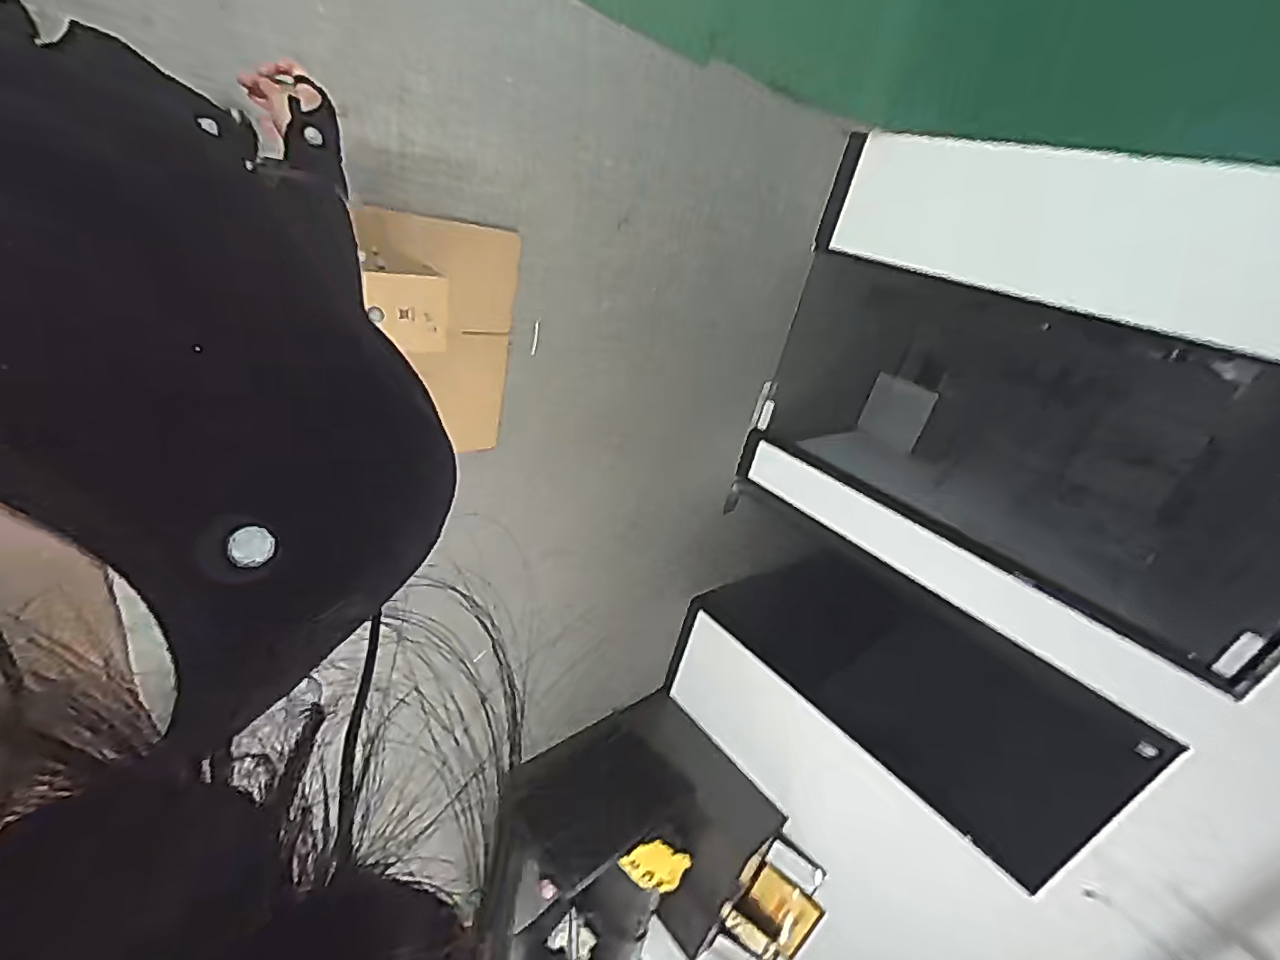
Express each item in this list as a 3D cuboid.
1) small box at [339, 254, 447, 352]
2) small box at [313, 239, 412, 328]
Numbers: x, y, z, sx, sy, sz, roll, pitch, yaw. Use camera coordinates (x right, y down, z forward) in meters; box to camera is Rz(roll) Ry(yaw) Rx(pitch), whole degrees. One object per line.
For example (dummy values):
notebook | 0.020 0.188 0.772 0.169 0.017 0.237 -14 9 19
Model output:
small box | -0.548 -0.387 1.188 0.179 0.176 0.168 -13 129 -42
small box | -0.660 -0.464 1.282 0.179 0.176 0.168 -14 129 -42
